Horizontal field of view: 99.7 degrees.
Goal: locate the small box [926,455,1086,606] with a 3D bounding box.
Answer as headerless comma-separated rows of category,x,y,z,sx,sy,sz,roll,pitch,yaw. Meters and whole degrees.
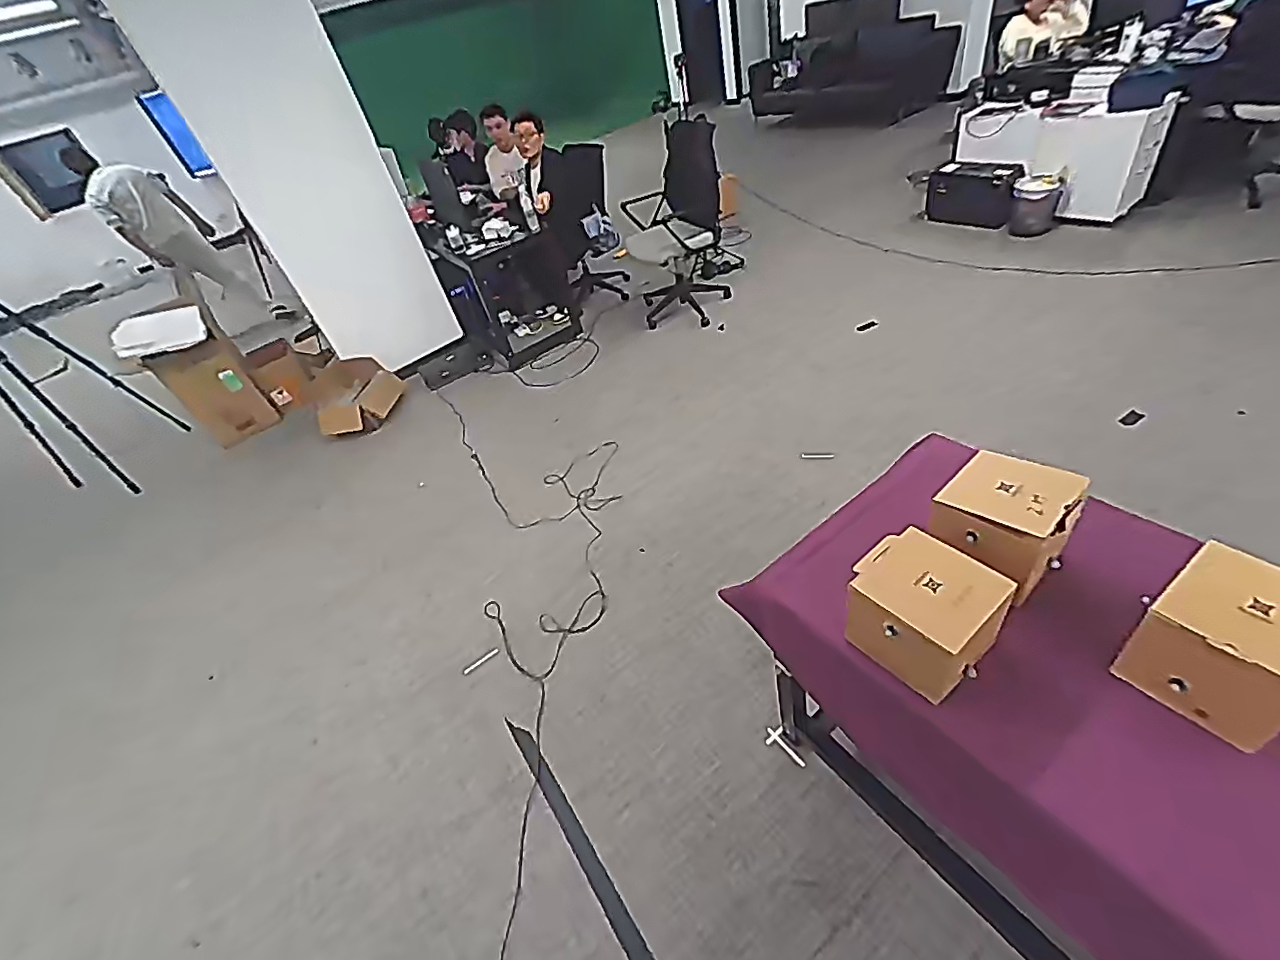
small box,0.638,0.091,0.970,0.168,0.176,0.179,-36,45,-21

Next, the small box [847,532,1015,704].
small box,0.457,0.224,0.880,0.168,0.176,0.179,-34,44,-19
